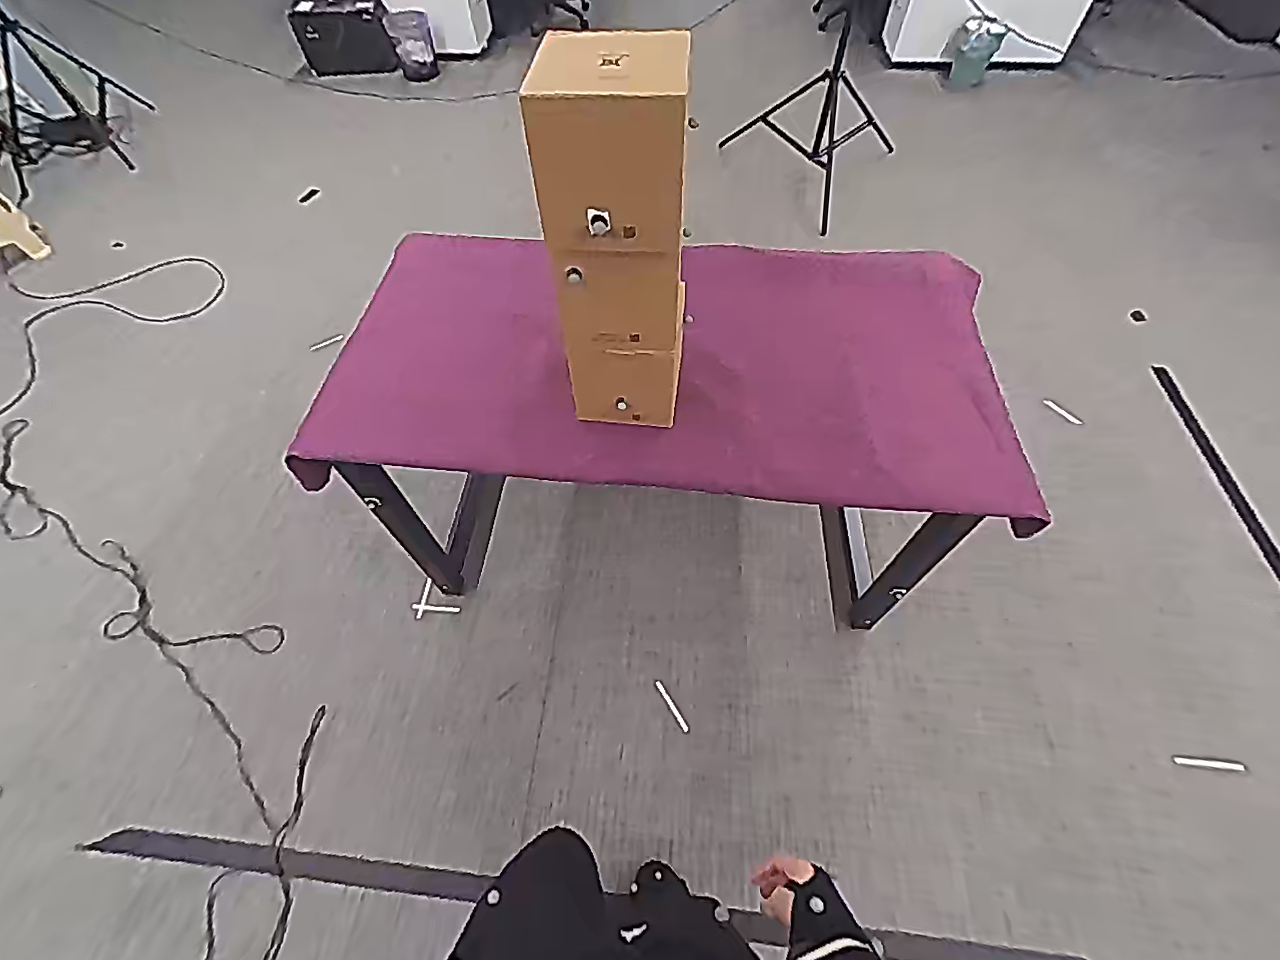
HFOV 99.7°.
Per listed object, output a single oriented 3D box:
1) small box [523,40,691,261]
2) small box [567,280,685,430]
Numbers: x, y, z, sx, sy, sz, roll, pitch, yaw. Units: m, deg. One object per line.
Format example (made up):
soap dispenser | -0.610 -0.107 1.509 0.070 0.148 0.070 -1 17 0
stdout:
small box | -0.027 -0.384 0.635 0.168 0.176 0.179 1 56 3
small box | -0.018 -0.209 0.911 0.168 0.176 0.179 5 56 5
